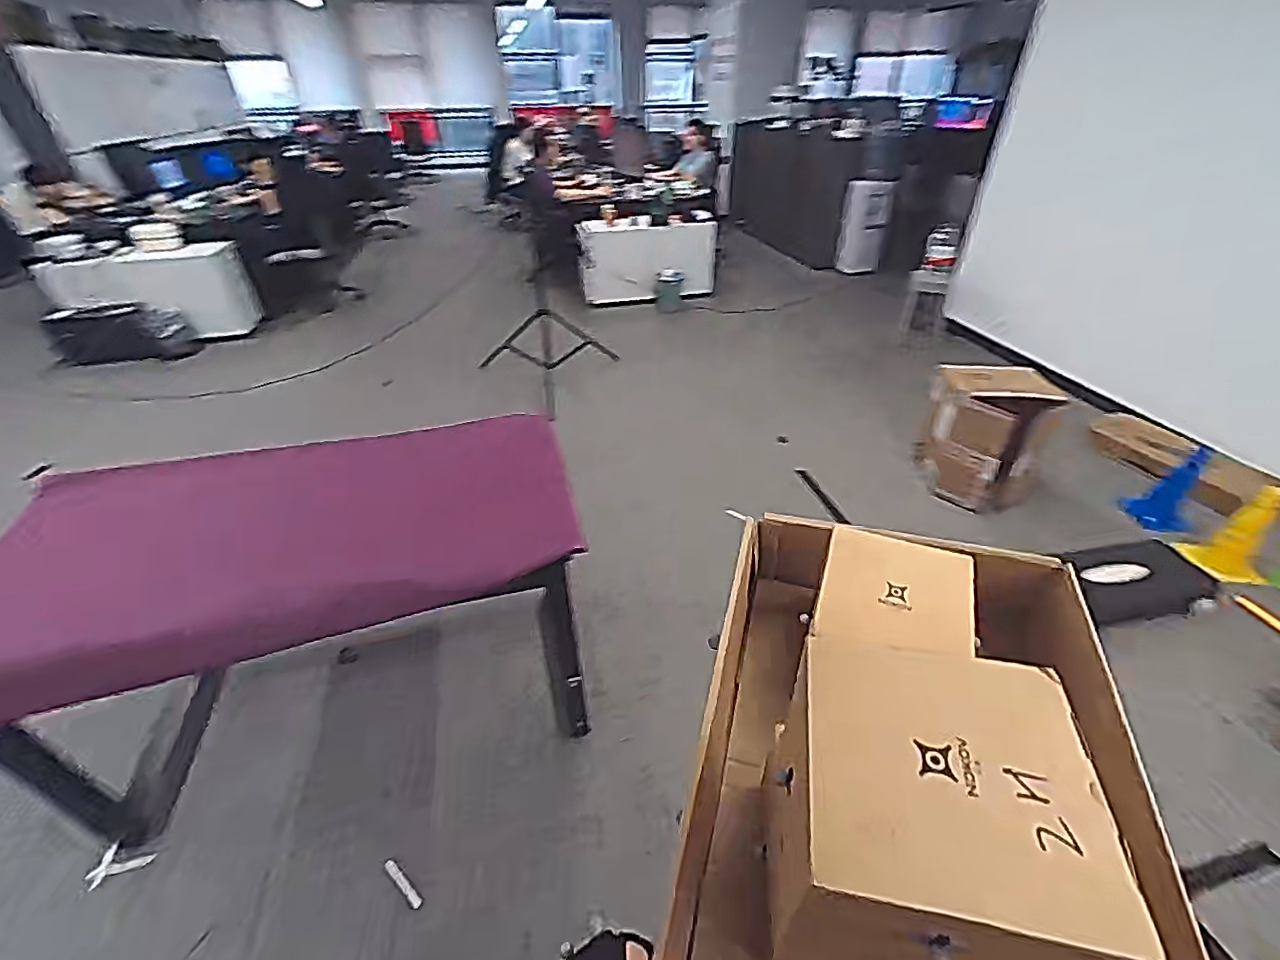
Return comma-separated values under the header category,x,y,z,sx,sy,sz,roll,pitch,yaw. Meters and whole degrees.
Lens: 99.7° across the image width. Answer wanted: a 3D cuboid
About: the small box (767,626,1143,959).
category,x,y,z,sx,sy,sz,roll,pitch,yaw
small box,0.189,0.233,0.395,0.179,0.176,0.168,6,42,11
